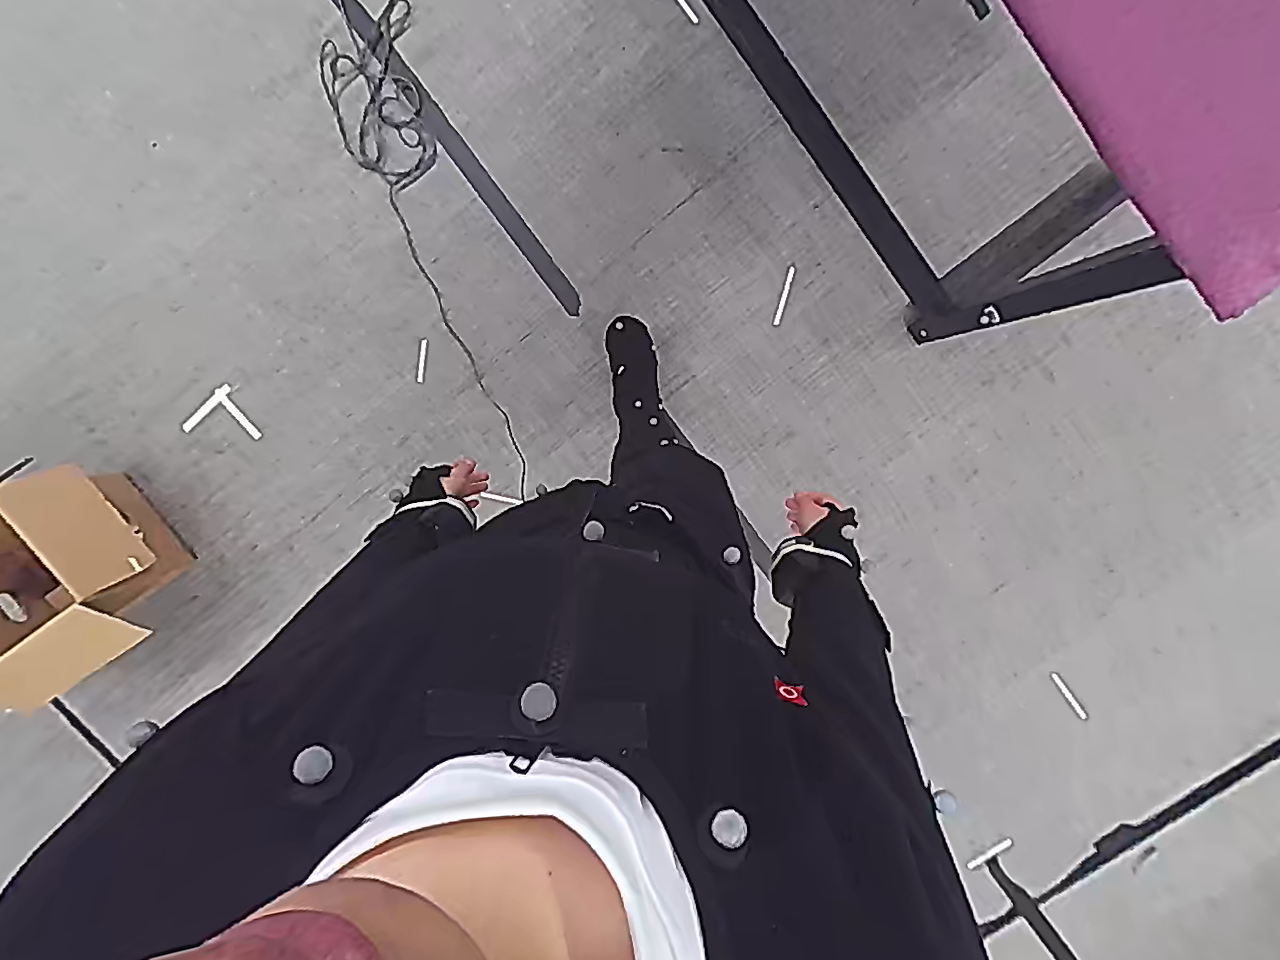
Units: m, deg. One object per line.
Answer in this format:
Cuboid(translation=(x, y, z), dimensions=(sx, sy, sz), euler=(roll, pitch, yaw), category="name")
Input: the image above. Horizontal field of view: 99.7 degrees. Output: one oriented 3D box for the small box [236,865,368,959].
Cuboid(translation=(-0.795, 1.084, 1.289), dimensions=(0.179, 0.176, 0.168), euler=(-41, 95, 6), category="small box")
